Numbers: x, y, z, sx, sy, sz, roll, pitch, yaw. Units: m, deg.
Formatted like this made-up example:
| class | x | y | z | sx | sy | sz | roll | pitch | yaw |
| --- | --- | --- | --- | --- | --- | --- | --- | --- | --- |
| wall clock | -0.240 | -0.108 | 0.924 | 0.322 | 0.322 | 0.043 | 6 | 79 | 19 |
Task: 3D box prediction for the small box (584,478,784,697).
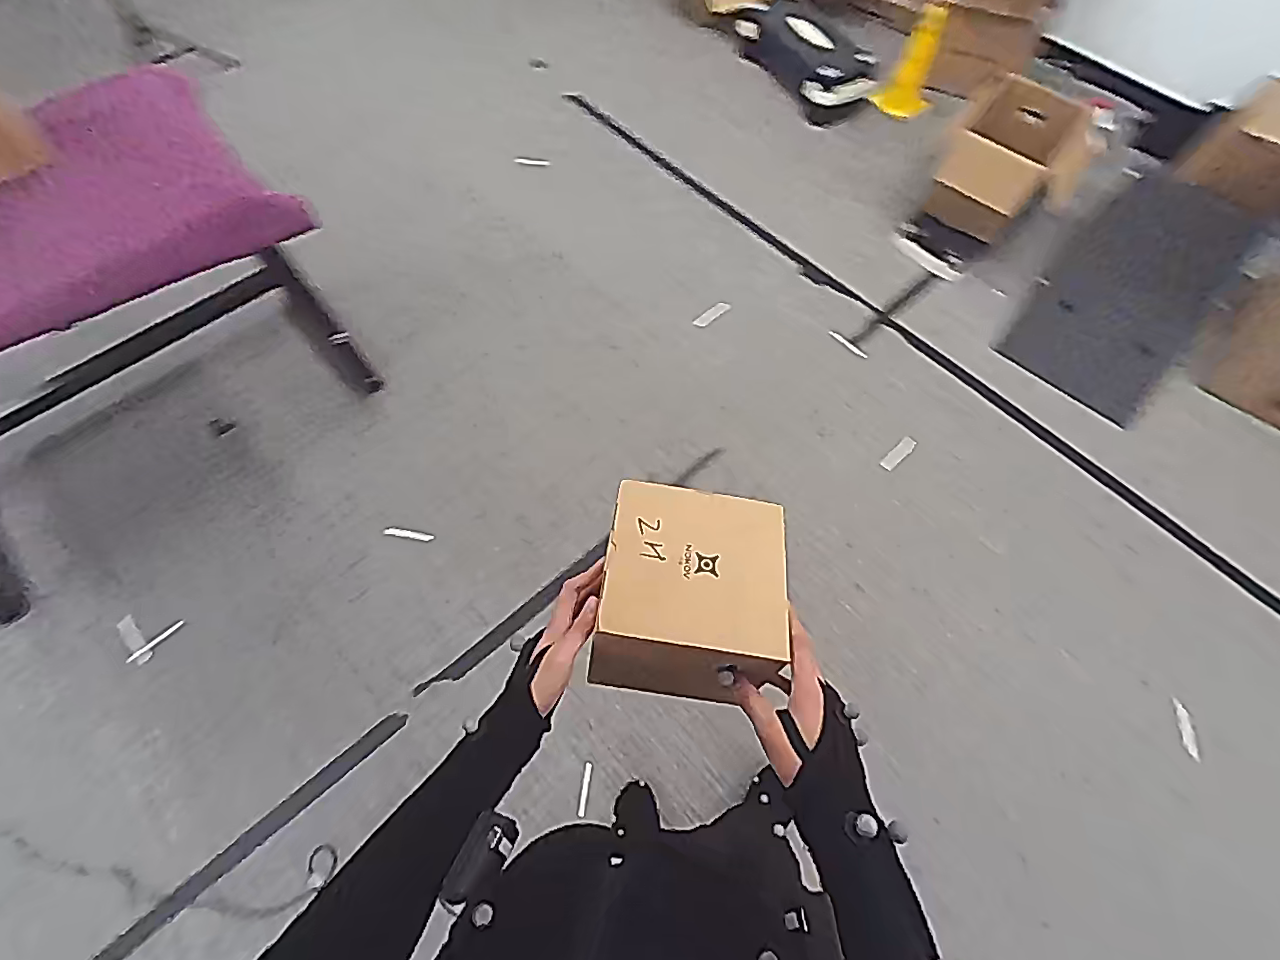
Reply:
| class | x | y | z | sx | sy | sz | roll | pitch | yaw |
| --- | --- | --- | --- | --- | --- | --- | --- | --- | --- |
| small box | 0.040 | 0.121 | 0.576 | 0.179 | 0.176 | 0.168 | 8 | 54 | -1 |
